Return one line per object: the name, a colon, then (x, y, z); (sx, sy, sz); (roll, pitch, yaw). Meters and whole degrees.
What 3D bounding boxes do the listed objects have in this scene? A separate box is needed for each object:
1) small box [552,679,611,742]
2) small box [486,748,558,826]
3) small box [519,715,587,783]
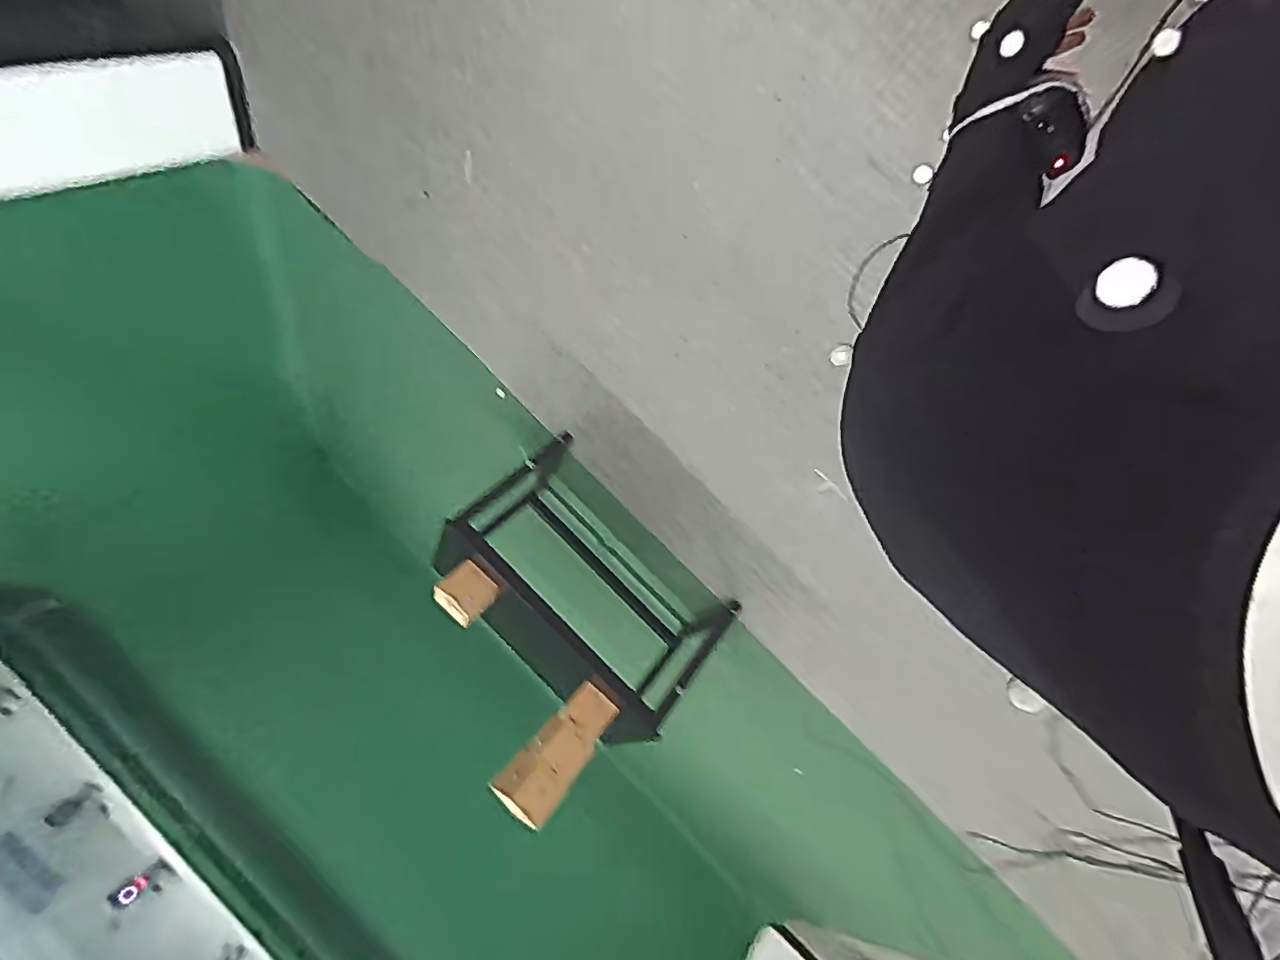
small box: (-0.241, 0.949, 2.209); (0.168, 0.176, 0.179); (40, 142, 9)
small box: (-0.431, 1.138, 2.019); (0.179, 0.176, 0.168); (-11, 114, 47)
small box: (-0.334, 1.043, 2.111); (0.168, 0.176, 0.179); (53, 143, -8)
